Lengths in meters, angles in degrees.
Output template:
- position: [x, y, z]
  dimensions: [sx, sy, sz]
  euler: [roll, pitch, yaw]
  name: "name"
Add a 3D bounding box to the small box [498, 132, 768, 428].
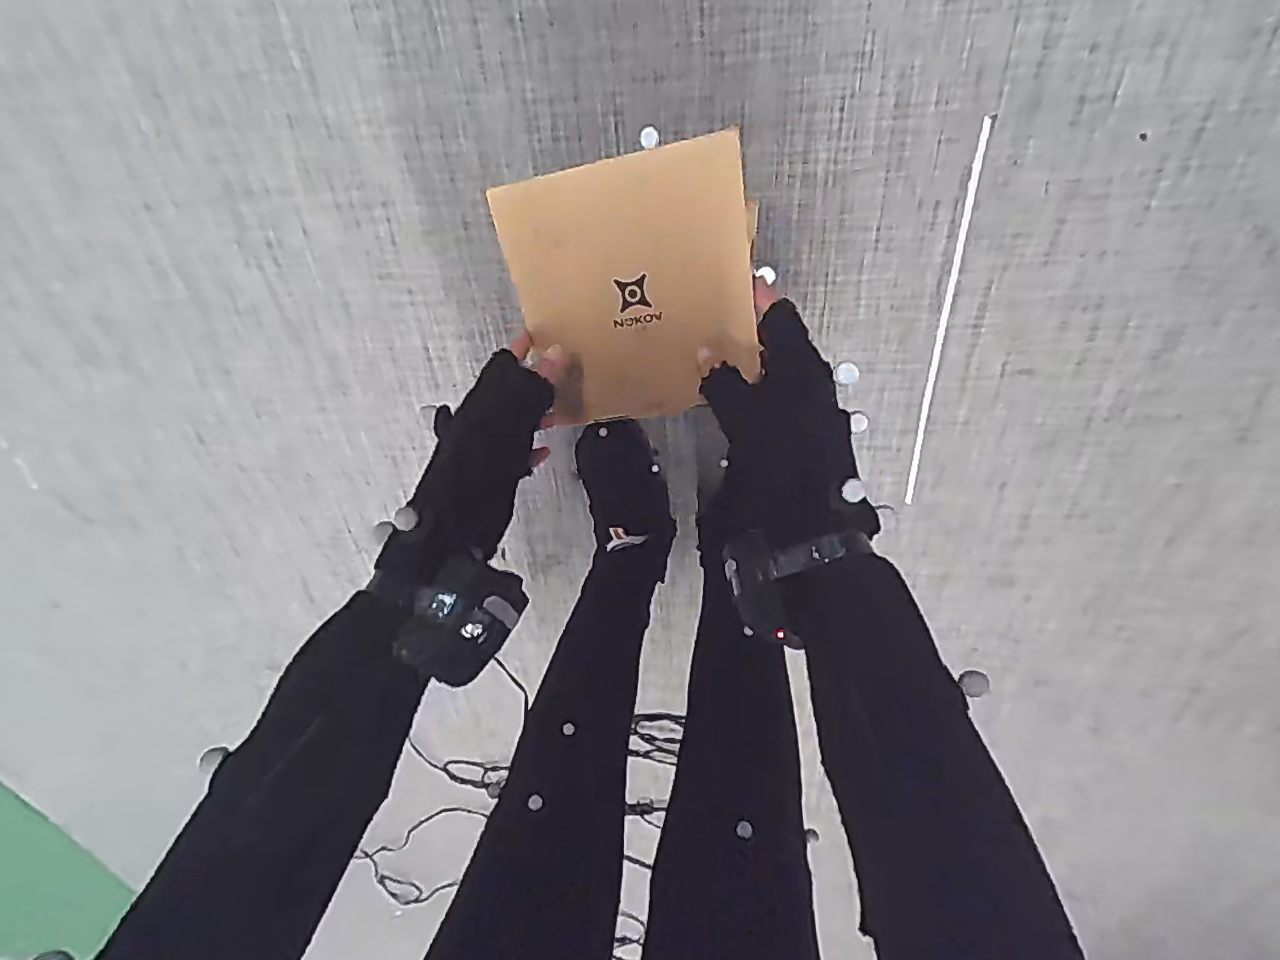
- position: [0.009, -0.164, 0.446]
  dimensions: [0.168, 0.176, 0.179]
  euler: [-7, 120, 12]
  name: "small box"
